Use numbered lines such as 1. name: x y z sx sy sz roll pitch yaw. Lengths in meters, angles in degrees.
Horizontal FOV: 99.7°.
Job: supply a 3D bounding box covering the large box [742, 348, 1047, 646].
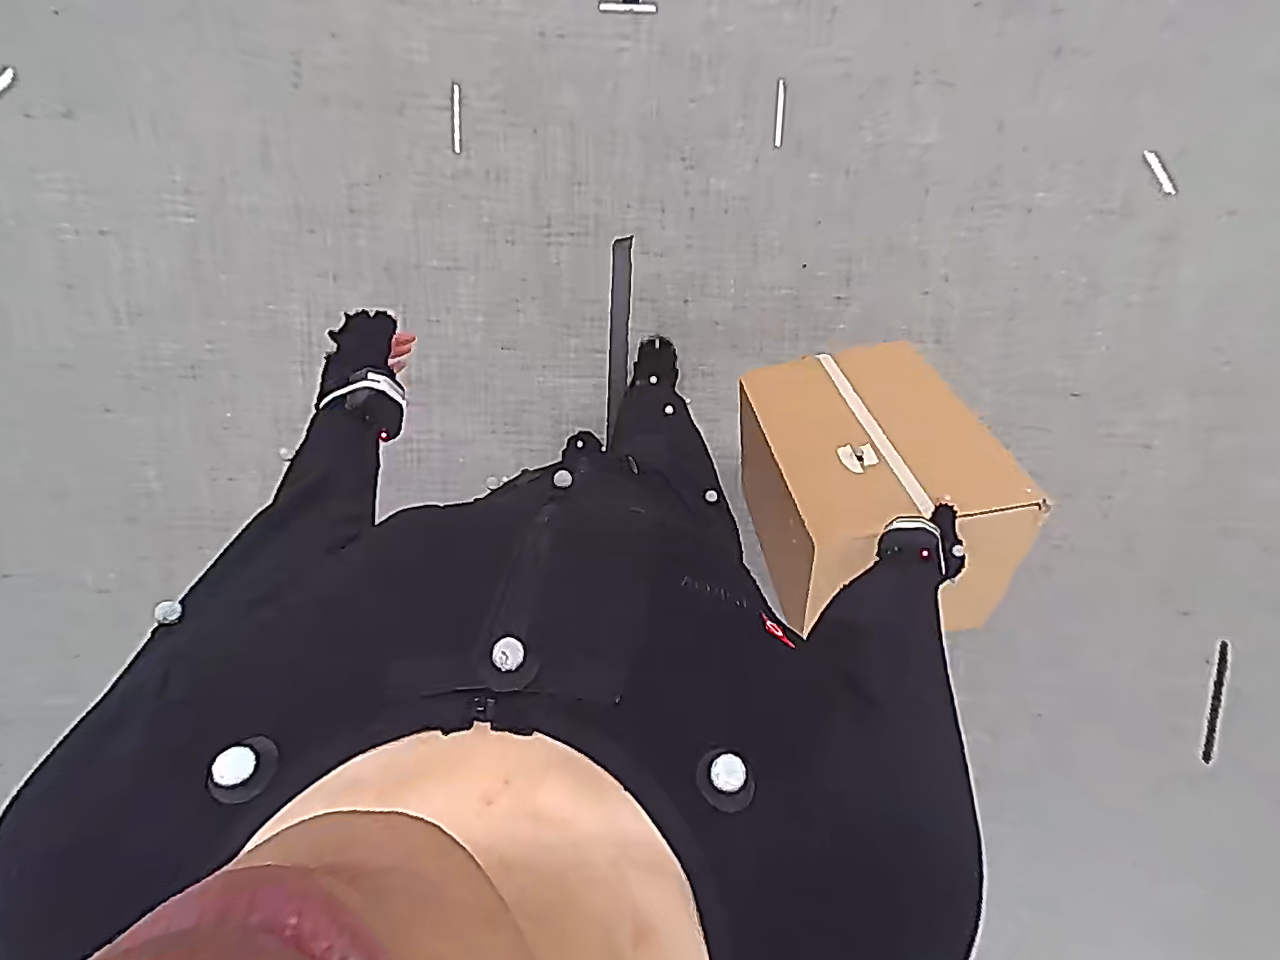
1. large box: 0.384 0.023 0.960 0.320 0.408 0.320 -10 136 1
